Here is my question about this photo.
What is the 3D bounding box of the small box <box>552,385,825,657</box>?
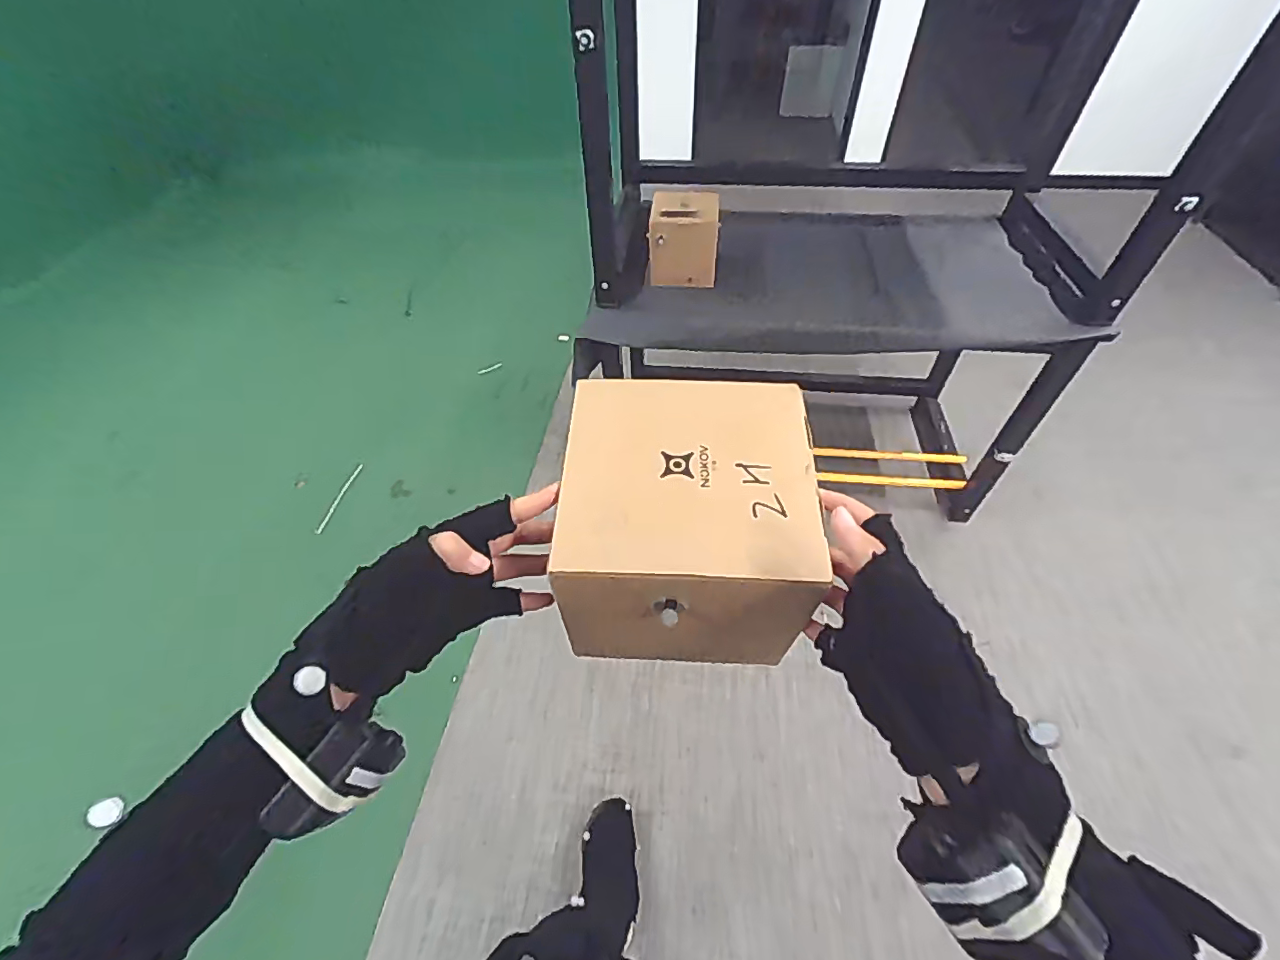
[{"bbox_3d":[0.035,0.040,0.450,0.179,0.176,0.168,2,55,1],"label":"small box"}]
